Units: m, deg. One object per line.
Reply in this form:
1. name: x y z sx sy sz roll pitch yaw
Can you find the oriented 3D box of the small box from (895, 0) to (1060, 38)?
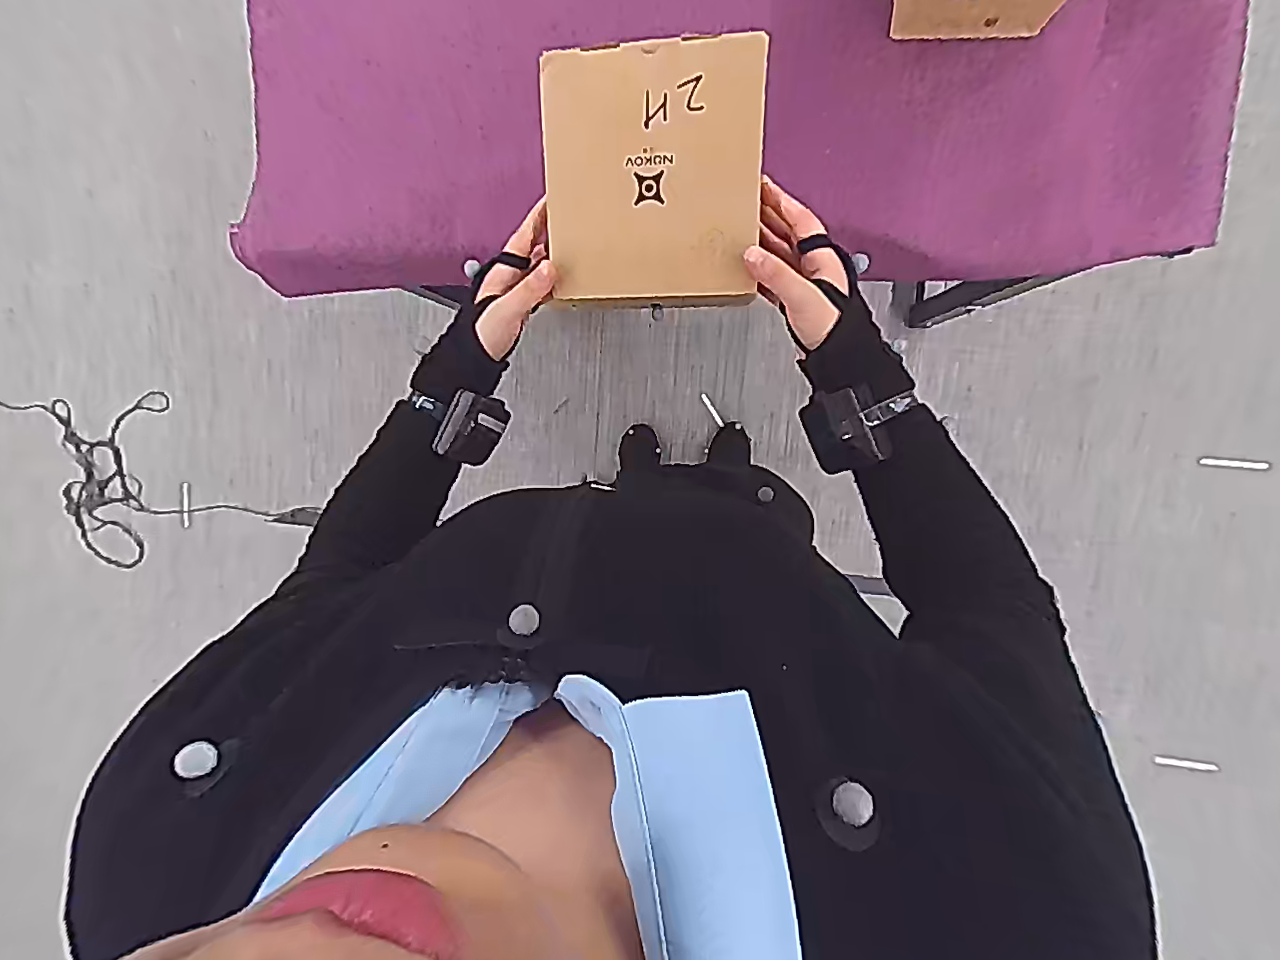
1. small box: 0.381 -0.602 0.561 0.168 0.176 0.179 4 97 6
